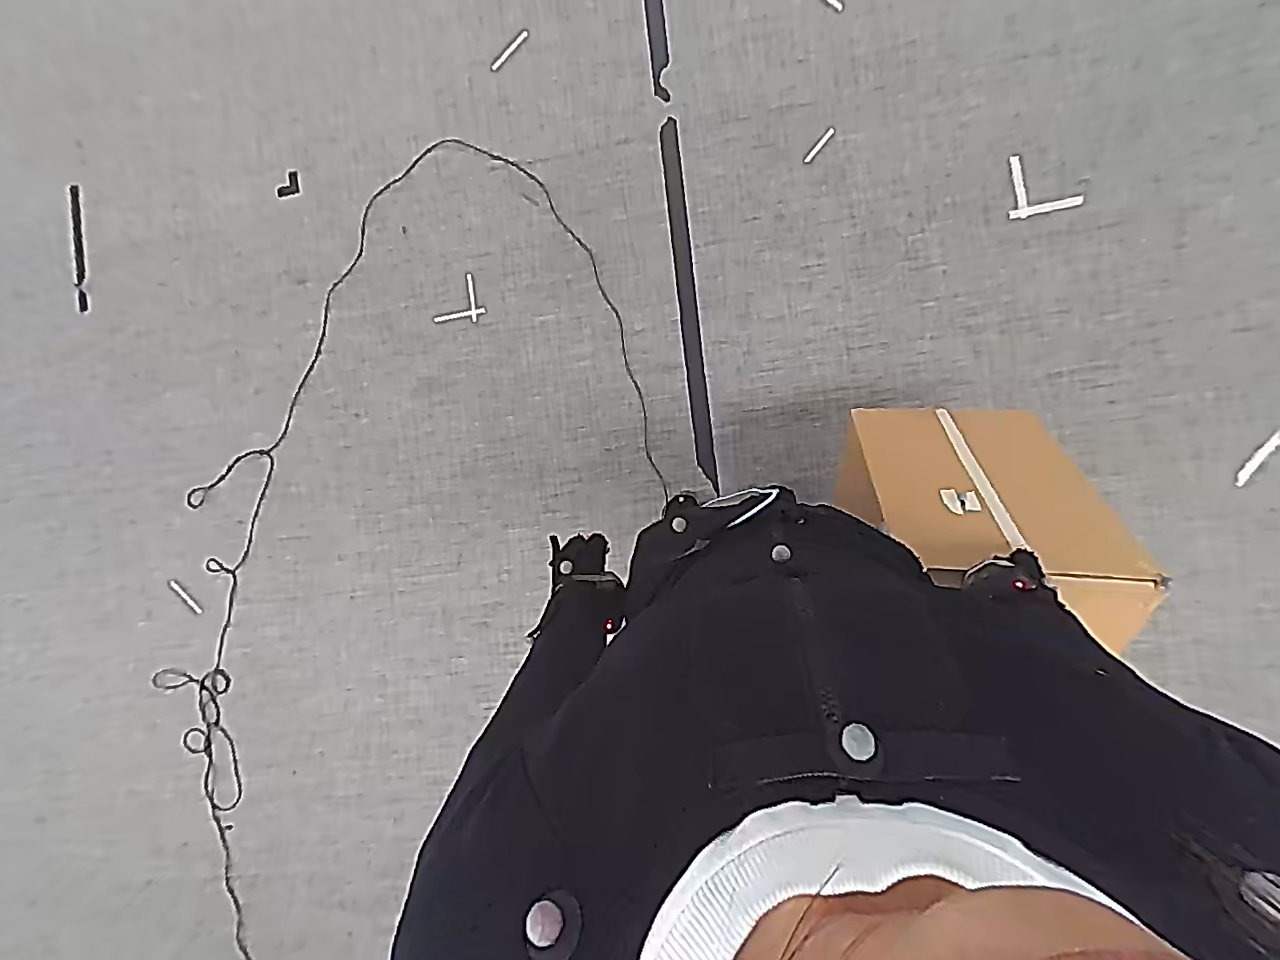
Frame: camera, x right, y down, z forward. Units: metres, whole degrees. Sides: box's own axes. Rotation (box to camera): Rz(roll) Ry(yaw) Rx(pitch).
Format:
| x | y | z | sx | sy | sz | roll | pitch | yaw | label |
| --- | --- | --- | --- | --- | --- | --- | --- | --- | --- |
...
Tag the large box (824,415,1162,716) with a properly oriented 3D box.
| x | y | z | sx | sy | sz | roll | pitch | yaw | label |
| --- | --- | --- | --- | --- | --- | --- | --- | --- | --- |
| 0.522 | 0.126 | 0.926 | 0.320 | 0.408 | 0.320 | 1 | 128 | 9 | large box |
